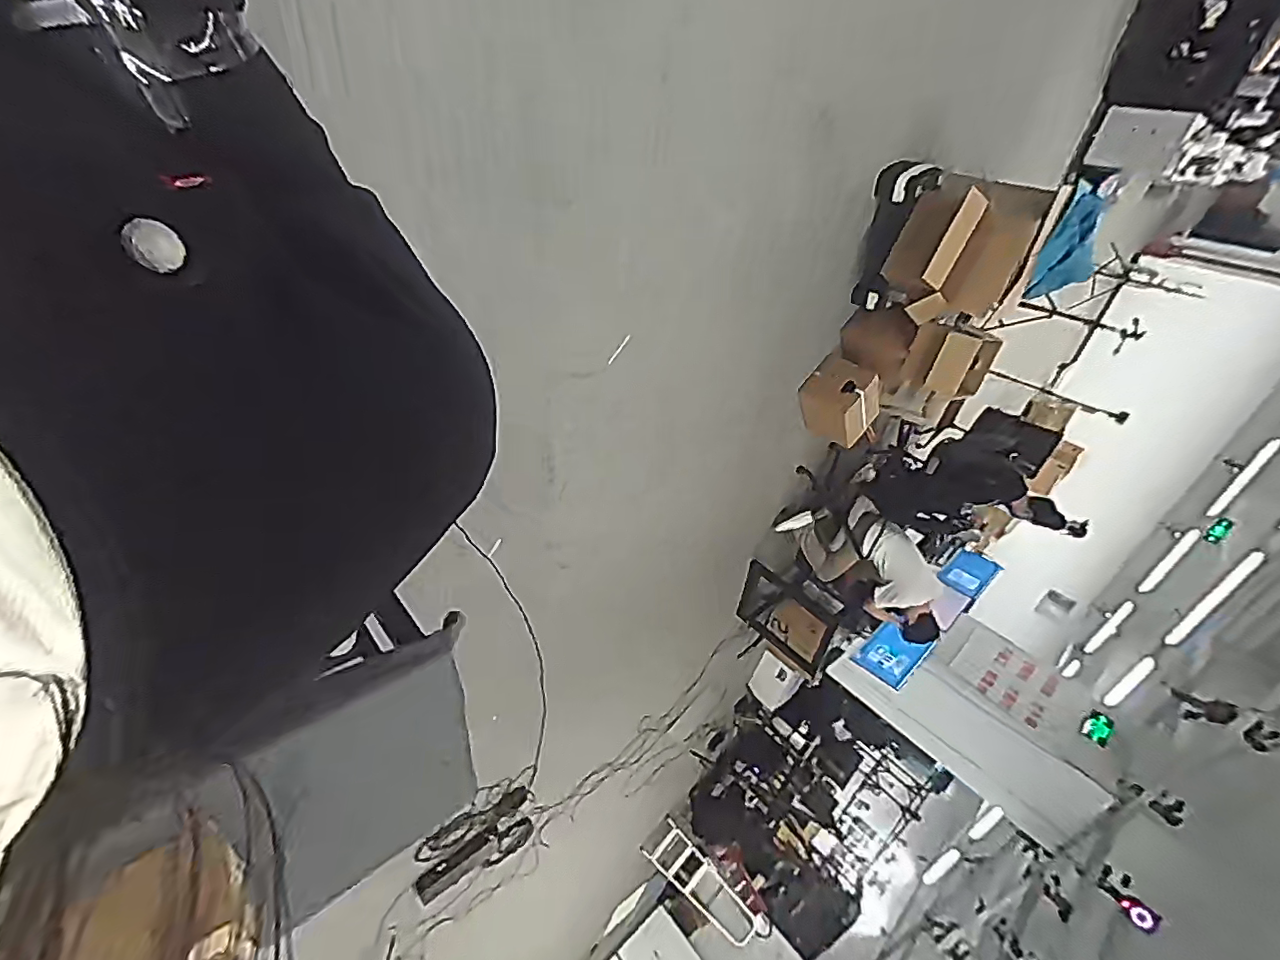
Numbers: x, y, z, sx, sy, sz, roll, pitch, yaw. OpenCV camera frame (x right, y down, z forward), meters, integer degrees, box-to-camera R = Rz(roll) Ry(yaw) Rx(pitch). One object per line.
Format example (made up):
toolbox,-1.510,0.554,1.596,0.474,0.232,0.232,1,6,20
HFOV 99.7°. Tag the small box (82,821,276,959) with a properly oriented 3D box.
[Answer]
small box,-0.693,0.672,0.821,0.179,0.176,0.168,-22,133,-37
